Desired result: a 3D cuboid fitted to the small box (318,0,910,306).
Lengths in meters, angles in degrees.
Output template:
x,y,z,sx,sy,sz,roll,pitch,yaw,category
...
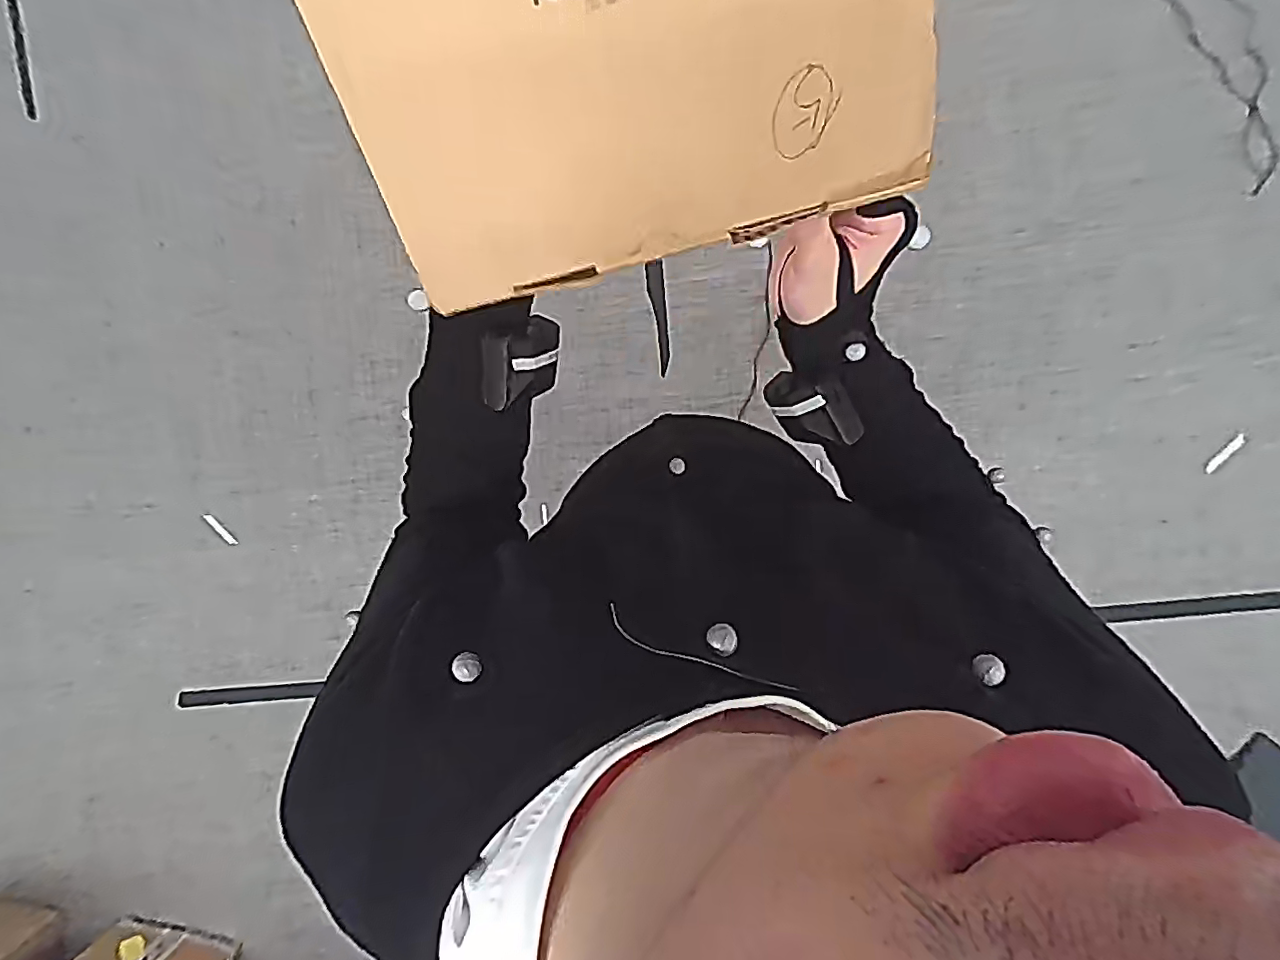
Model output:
x,y,z,sx,sy,sz,roll,pitch,yaw,category
-0.008,-0.193,0.215,0.168,0.176,0.179,-12,118,12,small box
